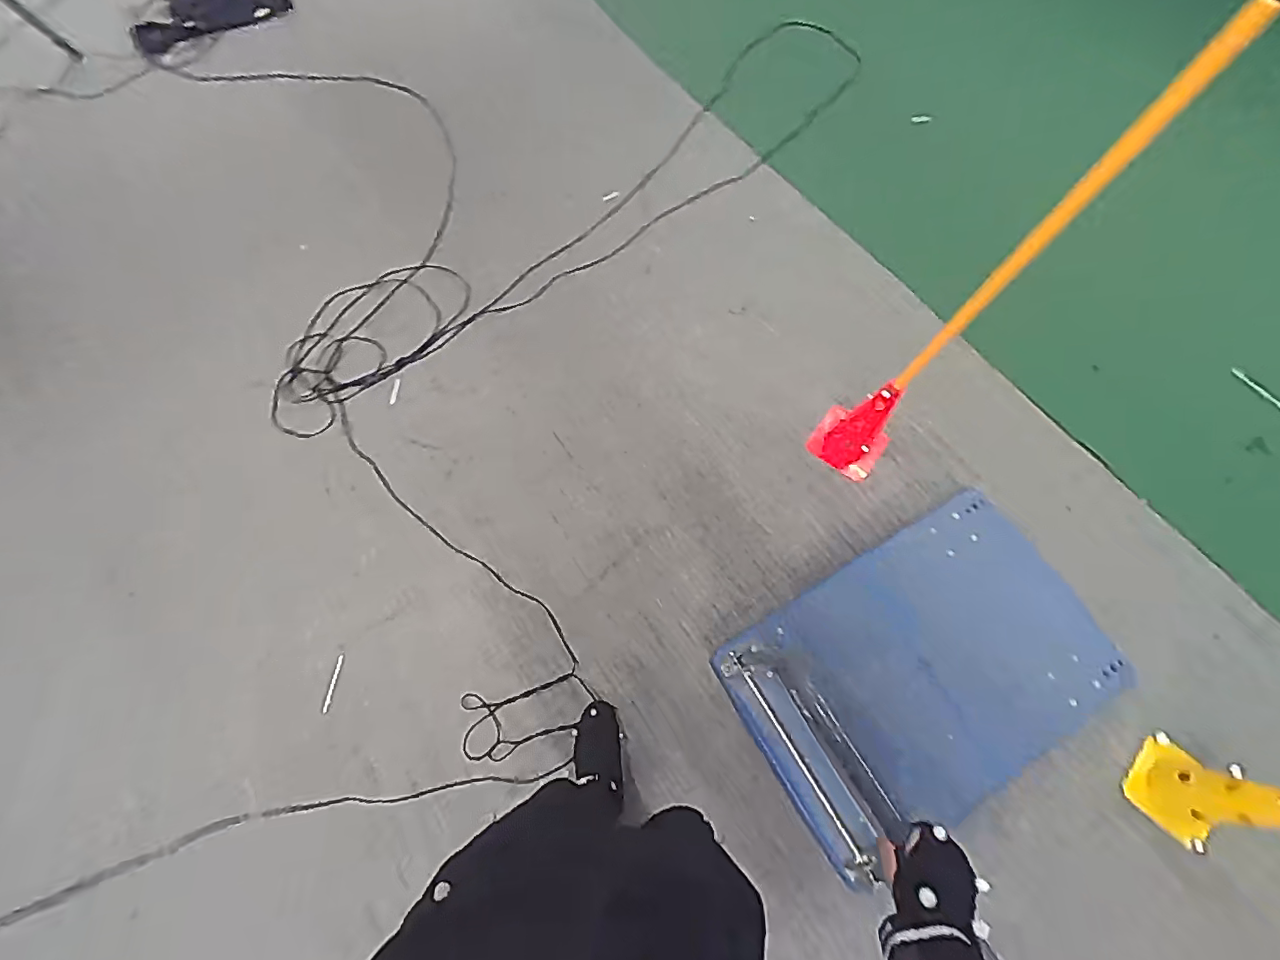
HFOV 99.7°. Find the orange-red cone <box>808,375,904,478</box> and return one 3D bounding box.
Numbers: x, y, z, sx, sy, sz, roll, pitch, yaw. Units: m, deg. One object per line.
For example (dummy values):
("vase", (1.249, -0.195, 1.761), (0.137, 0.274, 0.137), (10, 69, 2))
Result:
("orange-red cone", (0.649, -0.186, 1.531), (0.199, 0.360, 0.198), (37, 73, 14))
